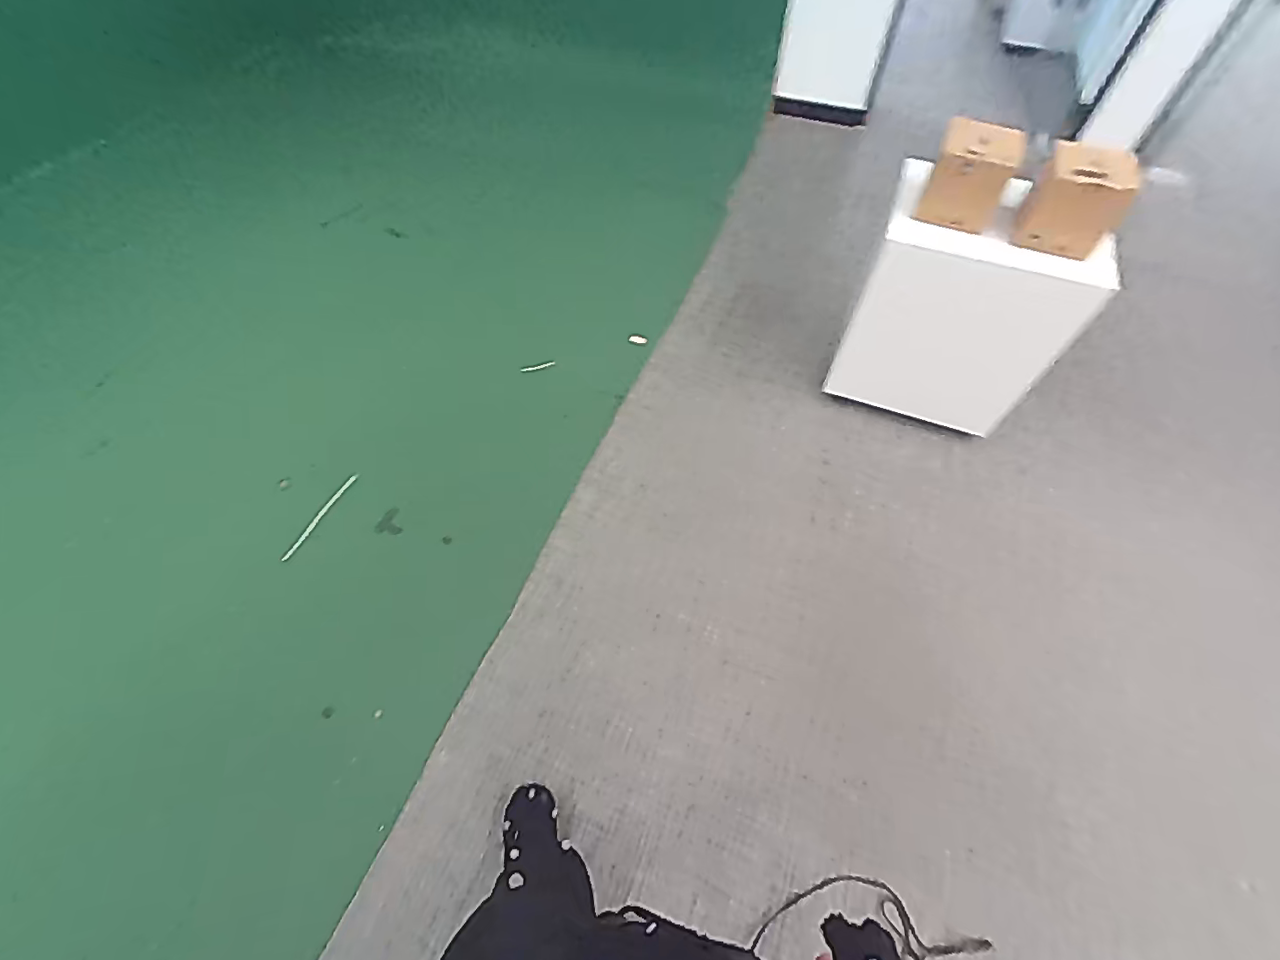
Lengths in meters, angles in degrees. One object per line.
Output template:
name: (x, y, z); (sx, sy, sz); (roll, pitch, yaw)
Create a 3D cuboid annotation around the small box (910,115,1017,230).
small box: (0.779, -0.745, 1.314); (0.168, 0.176, 0.179); (20, 59, 14)

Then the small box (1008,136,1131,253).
small box: (0.990, -0.660, 1.258); (0.168, 0.176, 0.179); (19, 59, 13)
